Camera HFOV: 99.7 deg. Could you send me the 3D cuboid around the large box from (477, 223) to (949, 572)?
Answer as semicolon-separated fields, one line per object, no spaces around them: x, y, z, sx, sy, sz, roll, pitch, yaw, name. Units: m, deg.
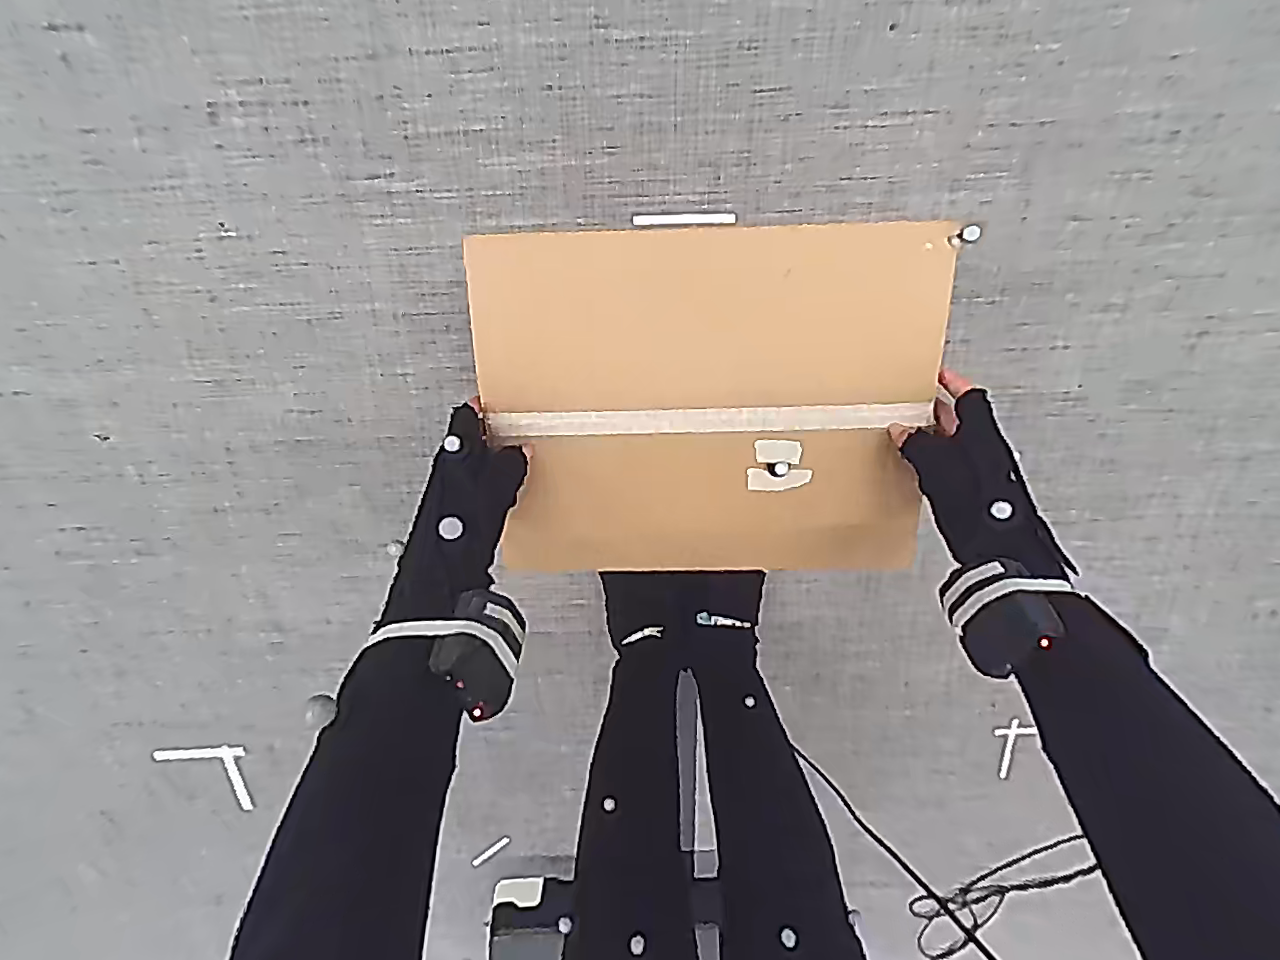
0.066;-0.105;0.639;0.408;0.320;0.320;-2;109;1;large box
